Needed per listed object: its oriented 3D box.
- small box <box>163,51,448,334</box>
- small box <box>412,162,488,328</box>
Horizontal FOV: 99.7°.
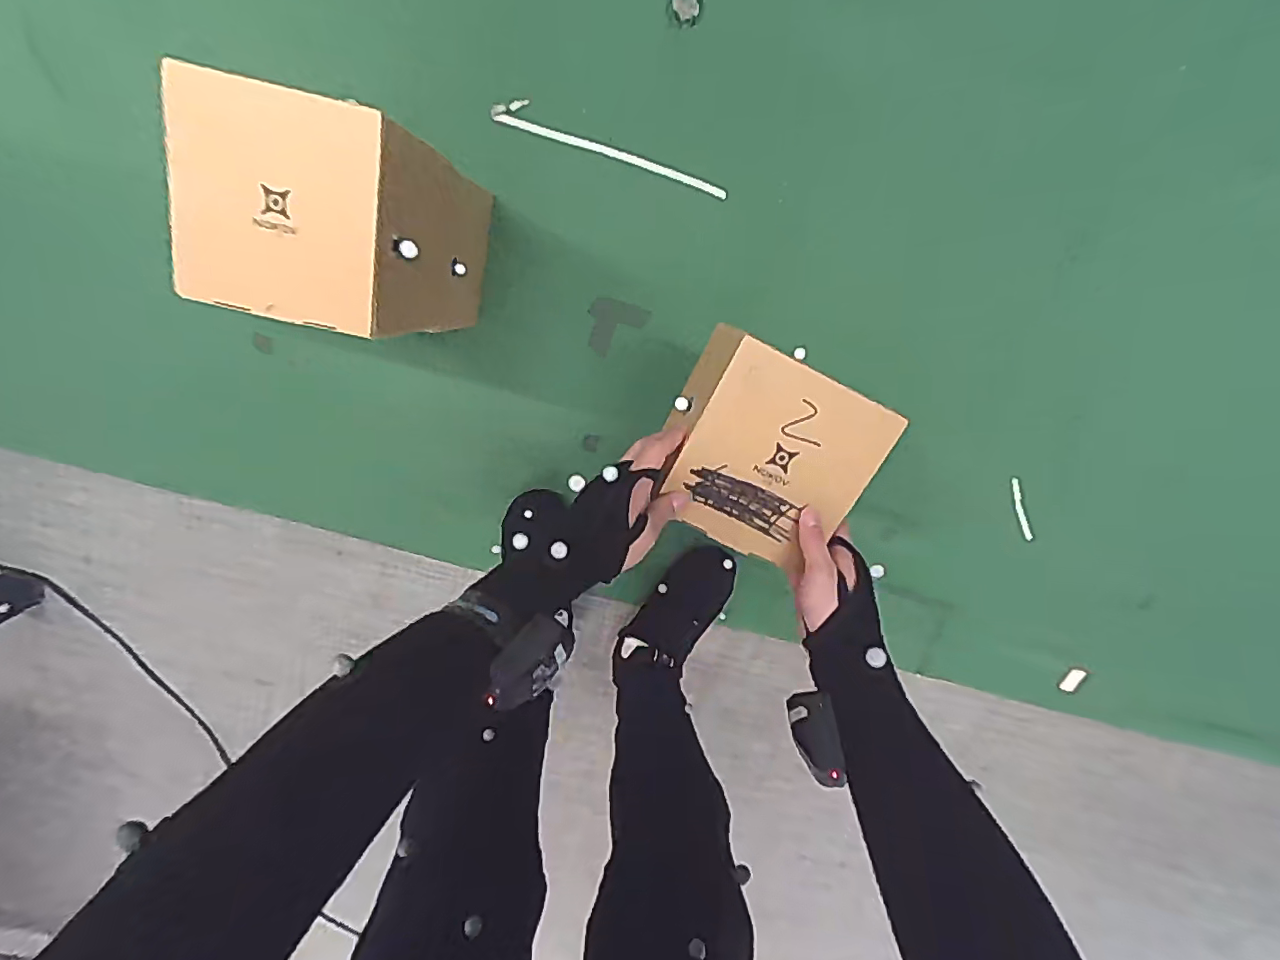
[{"bbox_3d":[-0.293,-0.250,0.509,0.168,0.176,0.179,12,110,-4],"label":"small box"},{"bbox_3d":[-0.297,-0.299,0.664,0.168,0.176,0.179,13,109,-5],"label":"small box"}]
